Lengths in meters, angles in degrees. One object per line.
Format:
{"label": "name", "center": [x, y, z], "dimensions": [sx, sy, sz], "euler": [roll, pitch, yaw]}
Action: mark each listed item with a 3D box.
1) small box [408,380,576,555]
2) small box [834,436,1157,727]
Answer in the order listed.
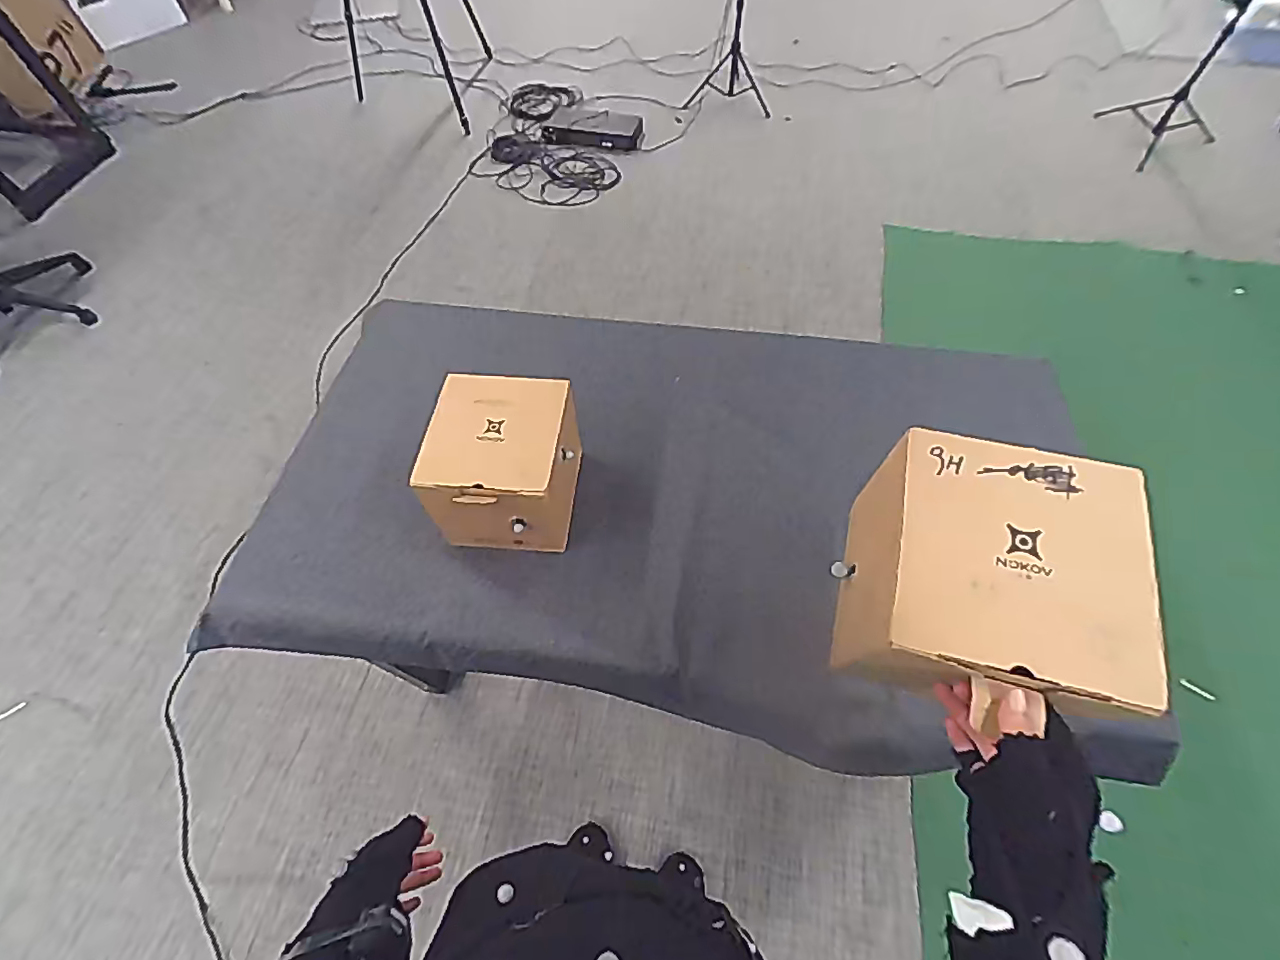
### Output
{"label": "small box", "center": [-0.183, -0.011, 0.735], "dimensions": [0.168, 0.176, 0.179], "euler": [4, 57, 2]}
{"label": "small box", "center": [0.271, 0.091, 0.452], "dimensions": [0.168, 0.176, 0.179], "euler": [13, 68, 10]}
